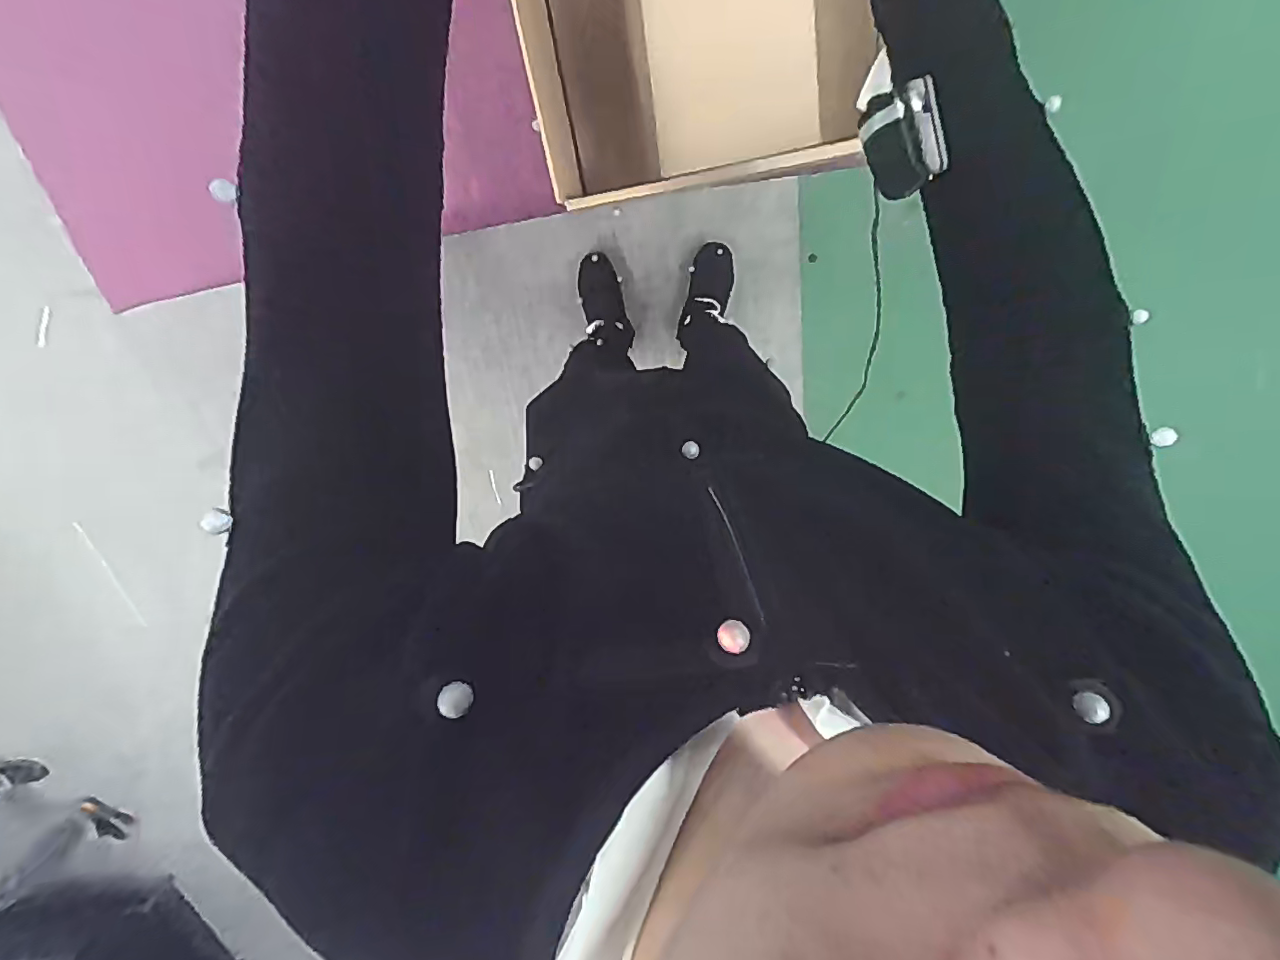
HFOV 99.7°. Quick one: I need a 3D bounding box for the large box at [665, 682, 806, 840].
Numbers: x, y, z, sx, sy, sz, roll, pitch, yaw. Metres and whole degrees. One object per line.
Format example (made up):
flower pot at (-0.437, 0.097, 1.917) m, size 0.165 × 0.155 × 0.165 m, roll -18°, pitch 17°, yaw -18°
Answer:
large box at (0.336, 1.045, 2.023) m, size 0.408 × 0.320 × 0.320 m, roll -40°, pitch 108°, yaw 17°
